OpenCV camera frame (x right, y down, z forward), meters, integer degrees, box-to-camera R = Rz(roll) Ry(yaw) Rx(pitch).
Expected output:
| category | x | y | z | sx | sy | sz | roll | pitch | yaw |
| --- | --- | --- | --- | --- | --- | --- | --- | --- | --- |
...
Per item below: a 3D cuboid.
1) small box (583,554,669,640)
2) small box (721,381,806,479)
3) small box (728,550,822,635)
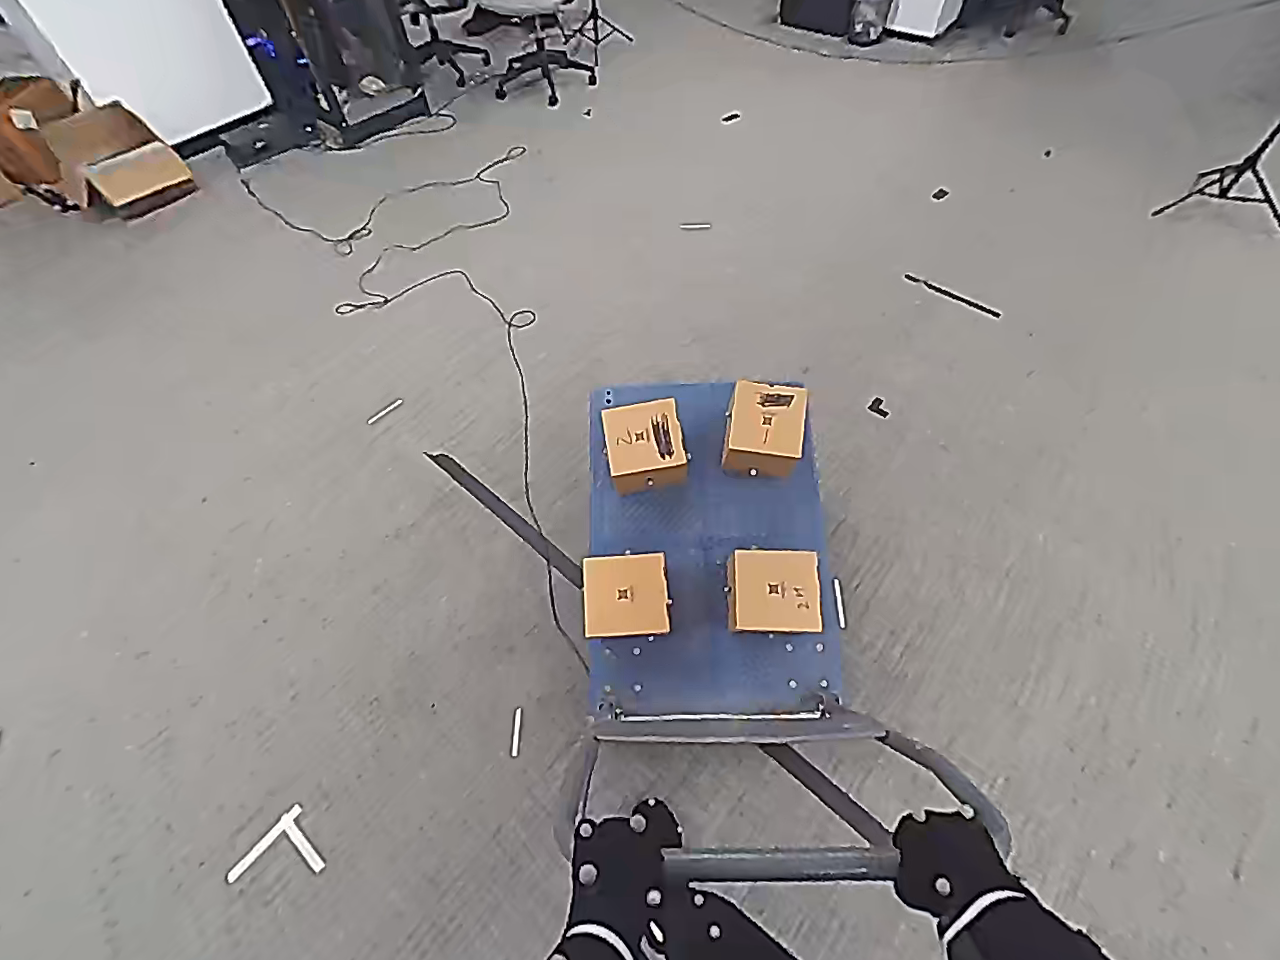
| category | x | y | z | sx | sy | sz | roll | pitch | yaw |
| --- | --- | --- | --- | --- | --- | --- | --- | --- | --- |
| small box | -0.029 | 0.265 | 1.204 | 0.179 | 0.176 | 0.168 | -4 | 73 | -1 |
| small box | 0.294 | -0.116 | 1.308 | 0.168 | 0.176 | 0.179 | 8 | 74 | 5 |
| small box | 0.288 | 0.253 | 1.194 | 0.179 | 0.176 | 0.168 | 1 | 73 | 3 |
